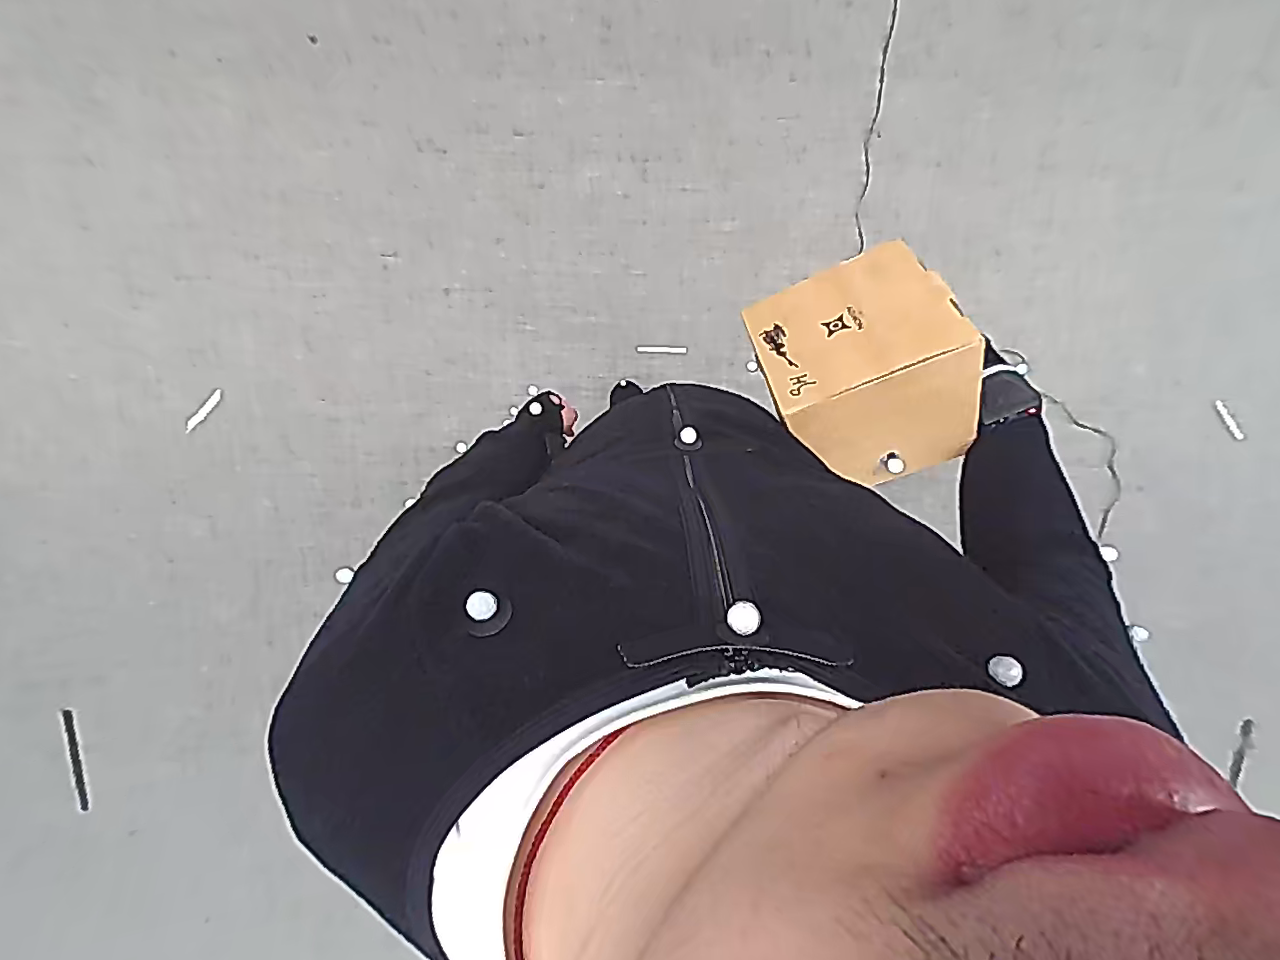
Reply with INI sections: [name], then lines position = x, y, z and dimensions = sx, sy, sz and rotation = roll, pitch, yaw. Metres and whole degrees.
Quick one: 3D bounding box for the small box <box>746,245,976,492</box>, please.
[small box]
position = 0.237, -0.114, 0.599
dimensions = 0.179, 0.168, 0.176
rotation = -21, 140, 15
